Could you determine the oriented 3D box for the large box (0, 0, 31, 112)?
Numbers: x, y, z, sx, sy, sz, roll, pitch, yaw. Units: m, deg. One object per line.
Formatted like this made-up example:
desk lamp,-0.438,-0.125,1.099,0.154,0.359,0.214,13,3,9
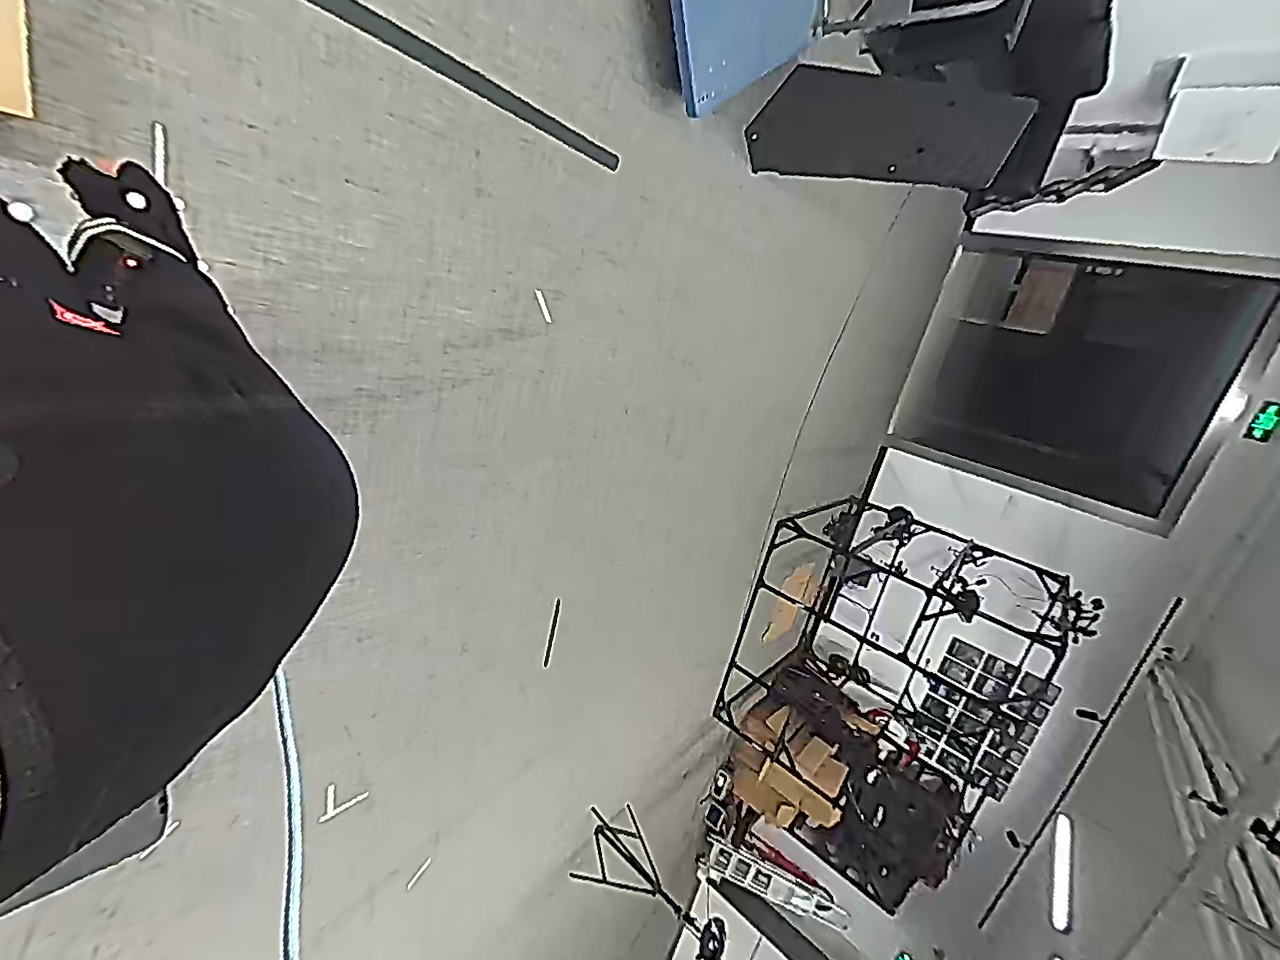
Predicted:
large box,-1.030,-0.669,0.611,0.408,0.320,0.320,-10,120,-53
